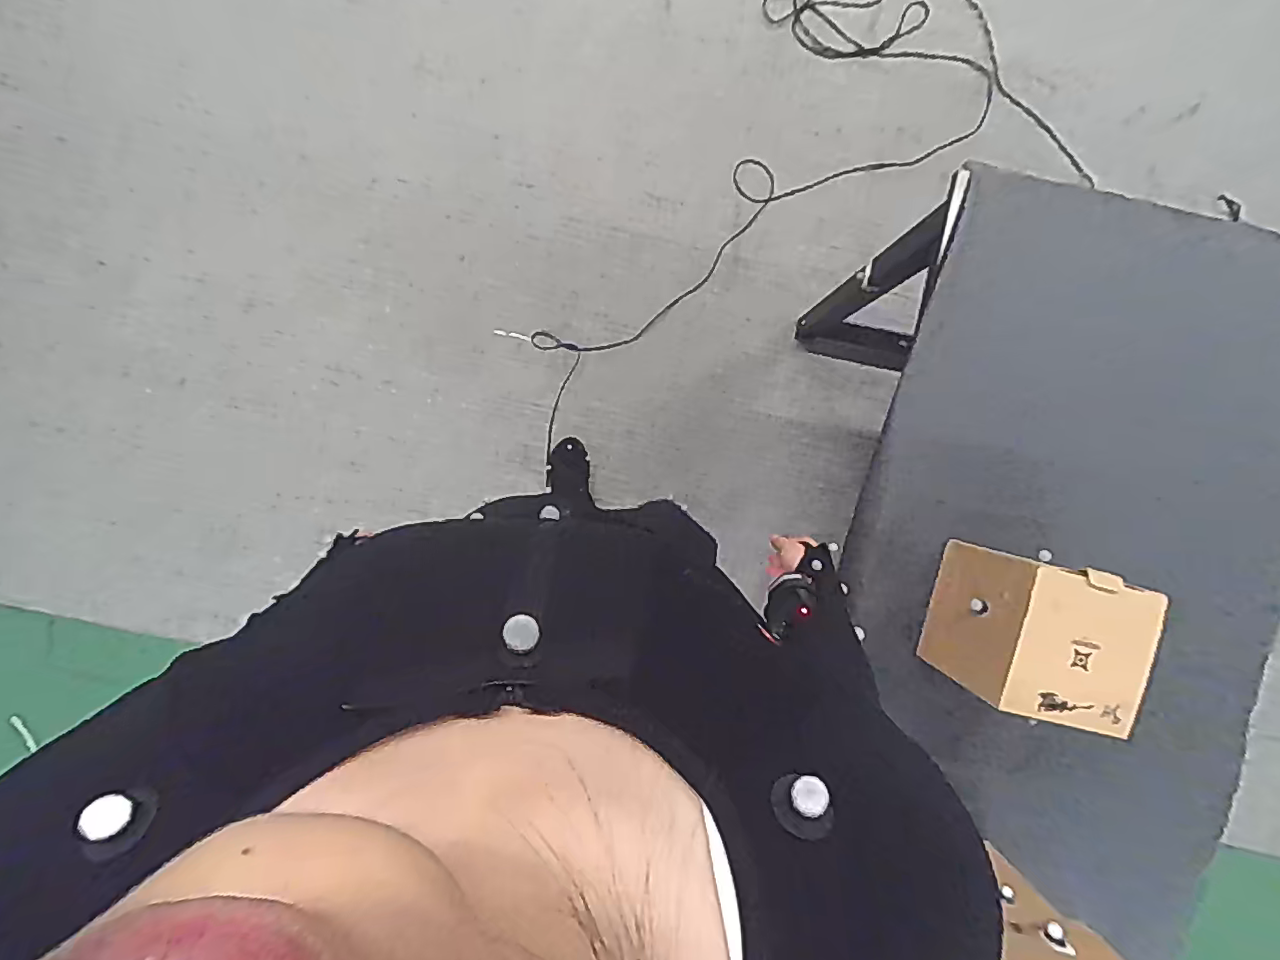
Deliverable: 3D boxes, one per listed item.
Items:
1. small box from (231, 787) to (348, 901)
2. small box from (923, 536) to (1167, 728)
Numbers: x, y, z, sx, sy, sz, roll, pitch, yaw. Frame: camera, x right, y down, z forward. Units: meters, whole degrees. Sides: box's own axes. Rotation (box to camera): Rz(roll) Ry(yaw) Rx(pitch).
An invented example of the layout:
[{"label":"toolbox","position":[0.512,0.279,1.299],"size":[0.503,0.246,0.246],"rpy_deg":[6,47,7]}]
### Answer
[{"label":"small box","position":[-0.906,0.940,1.414],"size":[0.179,0.176,0.168],"rpy_deg":[16,92,-3]},{"label":"small box","position":[0.496,0.178,0.690],"size":[0.168,0.176,0.179],"rpy_deg":[14,91,-4]}]
